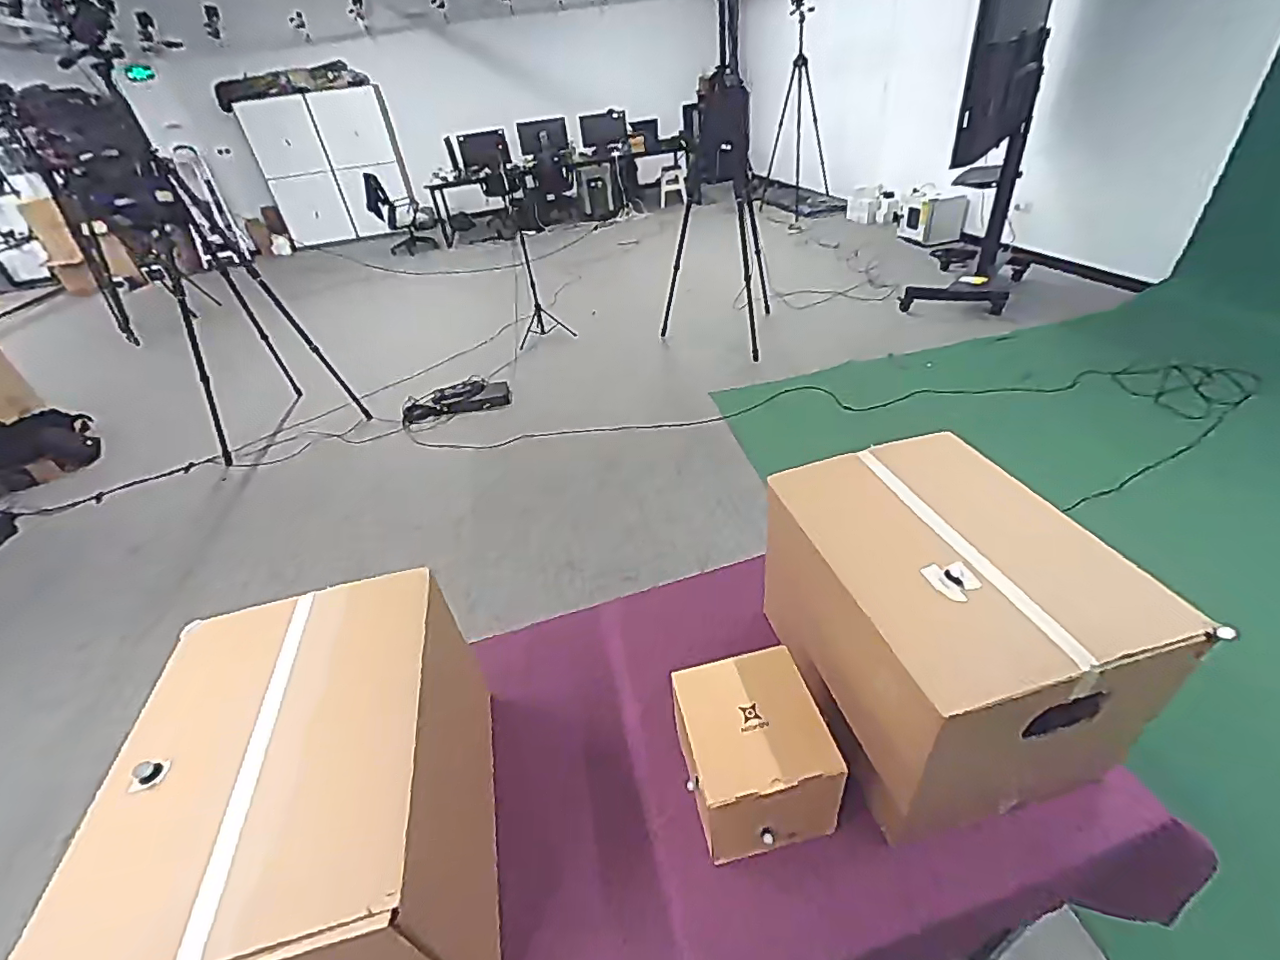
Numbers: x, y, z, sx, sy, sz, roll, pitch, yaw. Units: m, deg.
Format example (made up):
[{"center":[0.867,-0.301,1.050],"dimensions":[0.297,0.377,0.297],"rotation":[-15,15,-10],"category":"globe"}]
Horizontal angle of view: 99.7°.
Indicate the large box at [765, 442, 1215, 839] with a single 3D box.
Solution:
[{"center":[0.406,0.199,0.773],"dimensions":[0.320,0.320,0.408],"rotation":[-13,37,-7],"category":"large box"}]
